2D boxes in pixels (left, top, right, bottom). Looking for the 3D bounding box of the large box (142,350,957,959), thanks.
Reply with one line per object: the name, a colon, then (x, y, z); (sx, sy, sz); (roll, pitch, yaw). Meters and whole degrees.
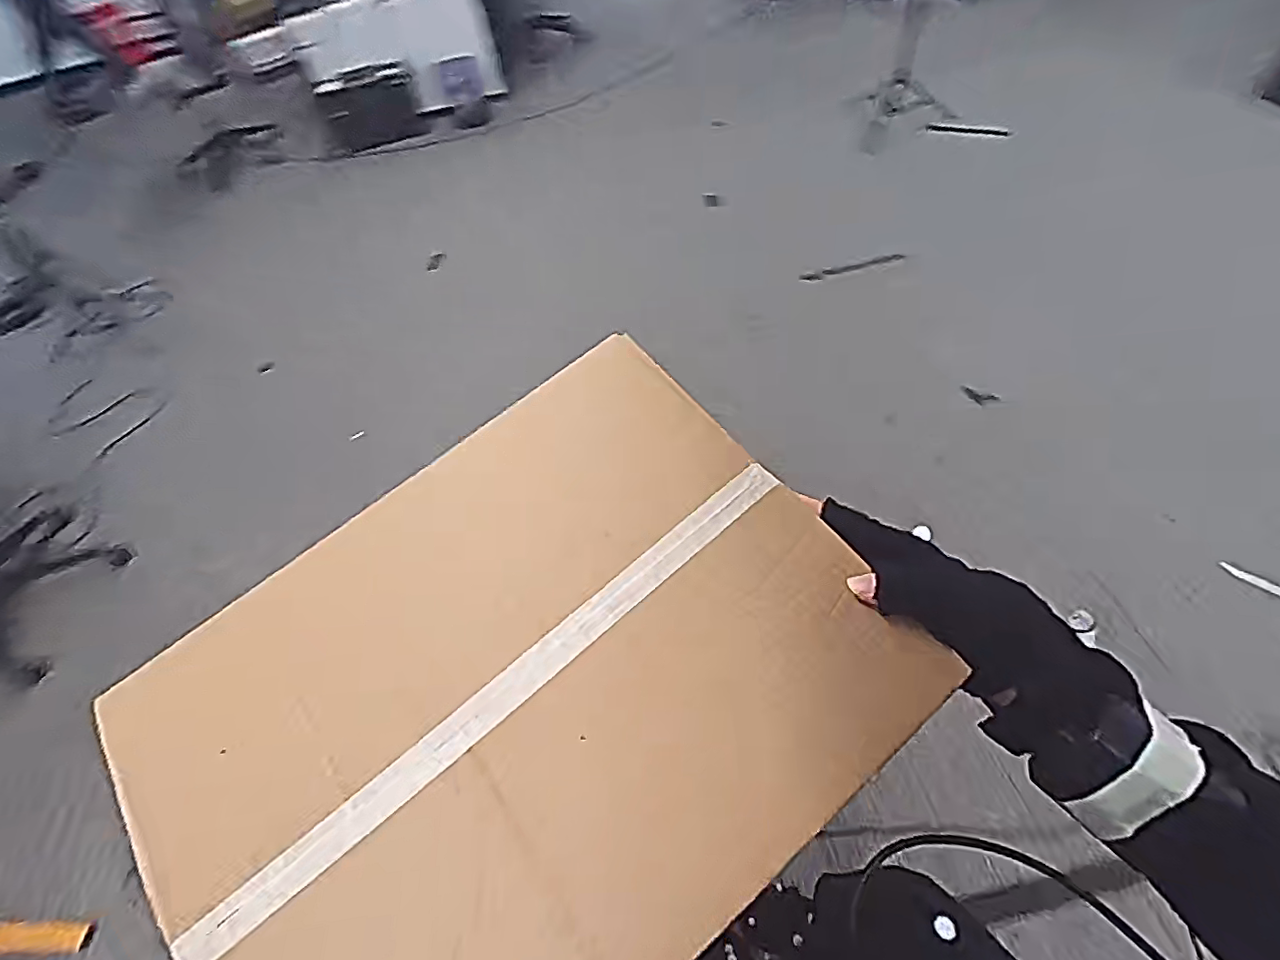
large box: (-0.051, 0.181, 0.456); (0.408, 0.320, 0.320); (-38, 68, -10)
